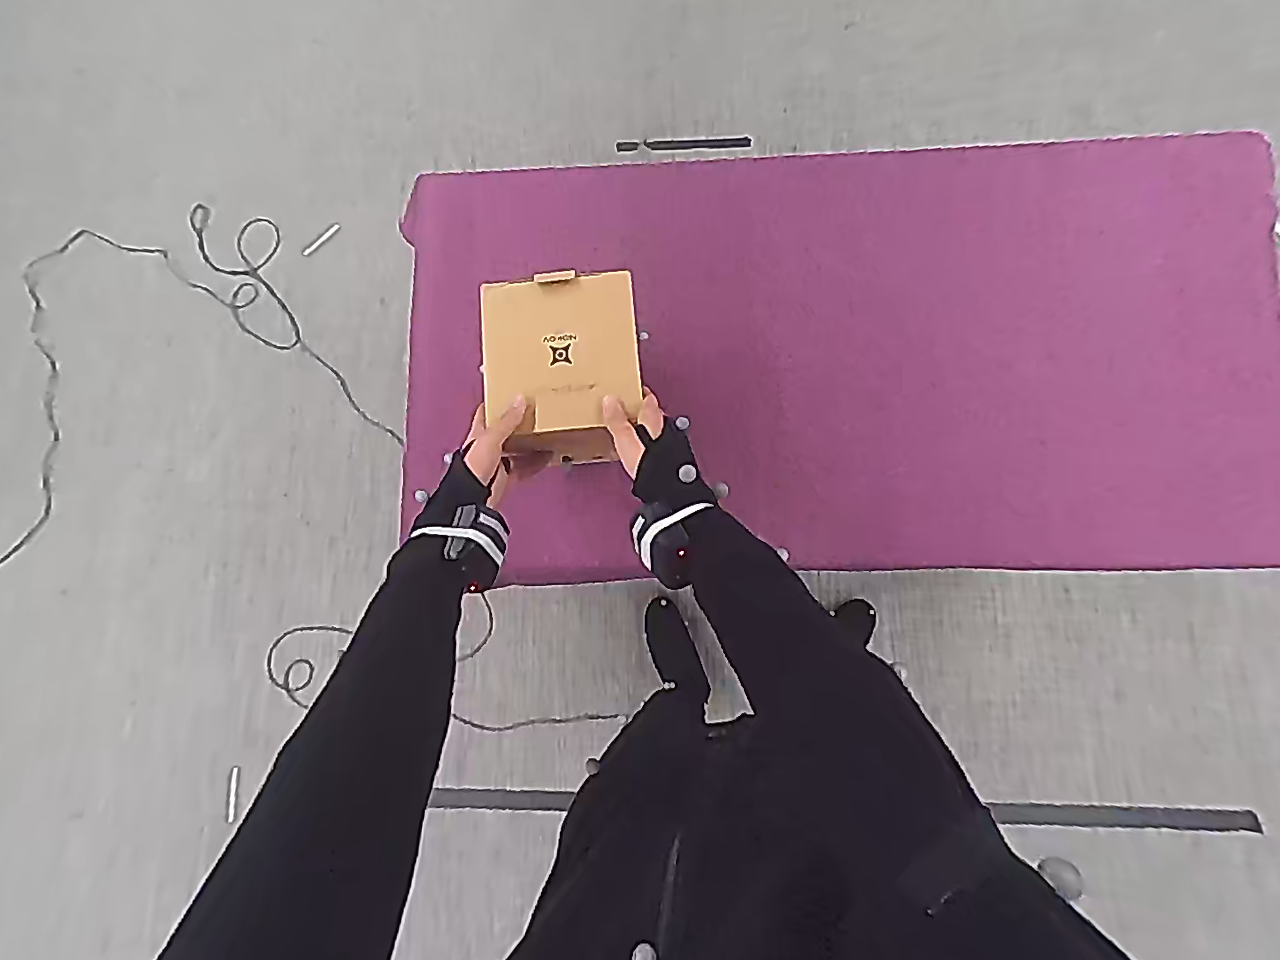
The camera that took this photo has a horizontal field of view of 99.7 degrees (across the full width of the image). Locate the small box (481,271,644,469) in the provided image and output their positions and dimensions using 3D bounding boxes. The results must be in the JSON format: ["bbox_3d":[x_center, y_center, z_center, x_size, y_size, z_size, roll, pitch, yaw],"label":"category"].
[{"bbox_3d":[-0.083,-0.120,0.641,0.168,0.176,0.179,-5,79,0],"label":"small box"}]
